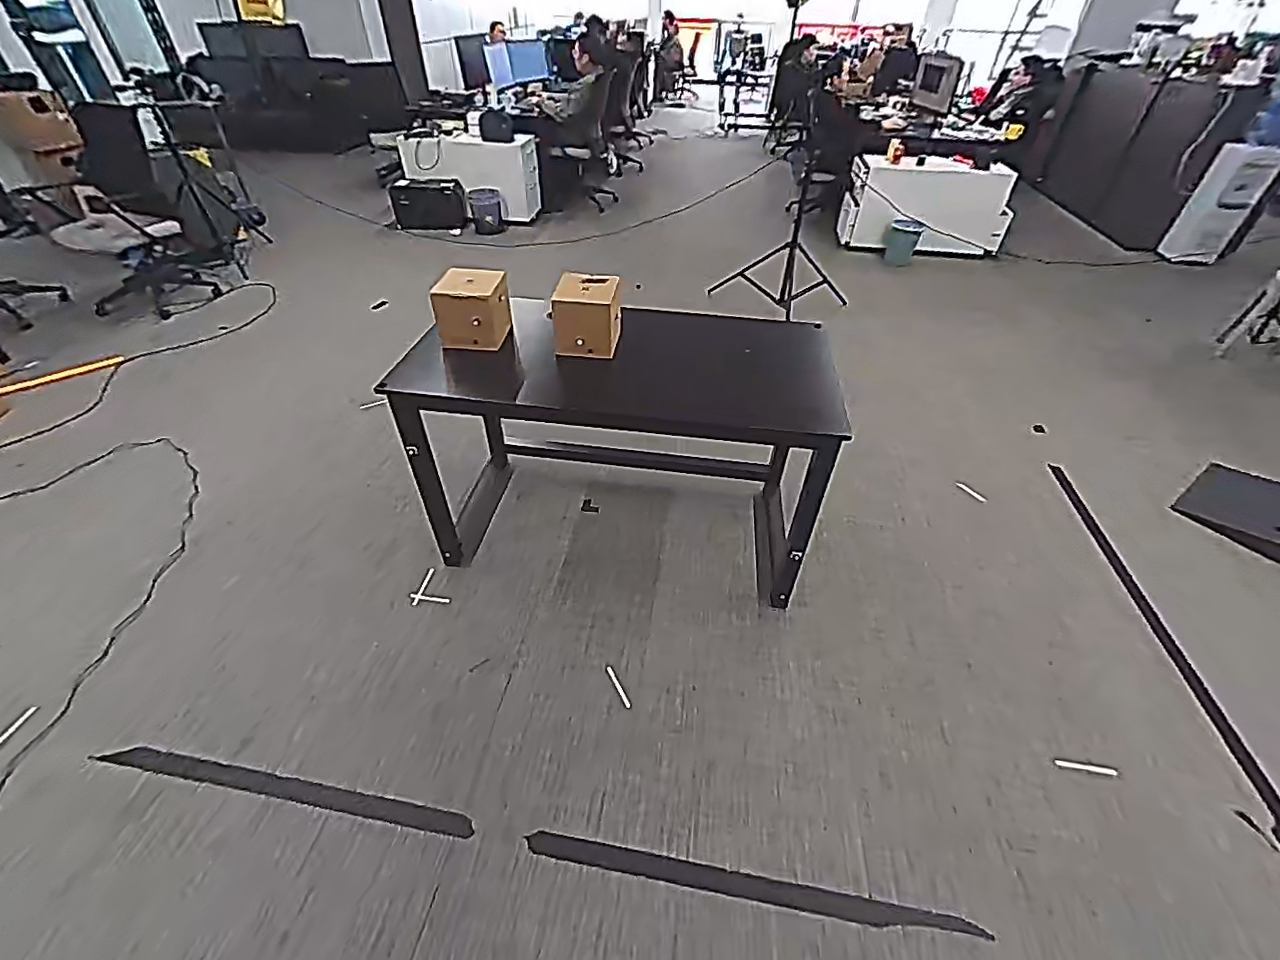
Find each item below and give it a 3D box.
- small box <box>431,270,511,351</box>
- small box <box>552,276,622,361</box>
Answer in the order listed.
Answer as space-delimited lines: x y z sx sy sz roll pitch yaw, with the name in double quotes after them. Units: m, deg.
-0.478 -0.487 1.560 0.168 0.176 0.179 5 41 1 "small box"
-0.147 -0.462 1.543 0.168 0.176 0.179 5 43 4 "small box"
